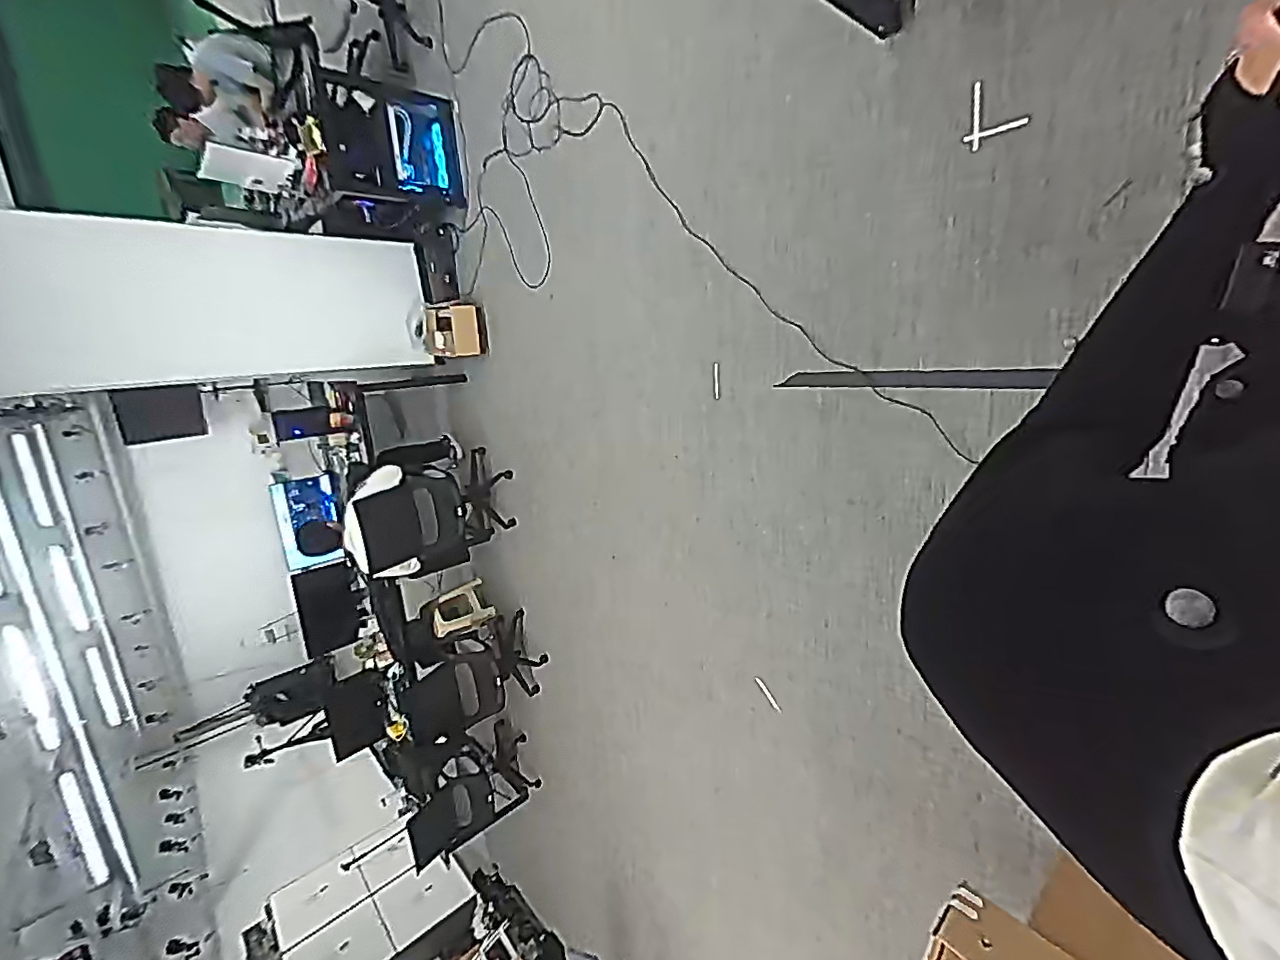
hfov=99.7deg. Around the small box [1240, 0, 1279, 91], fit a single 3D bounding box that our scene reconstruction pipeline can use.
[{"bbox_3d":[0.604,-0.425,0.405,0.179,0.176,0.168,12,115,41],"label":"small box"}]
